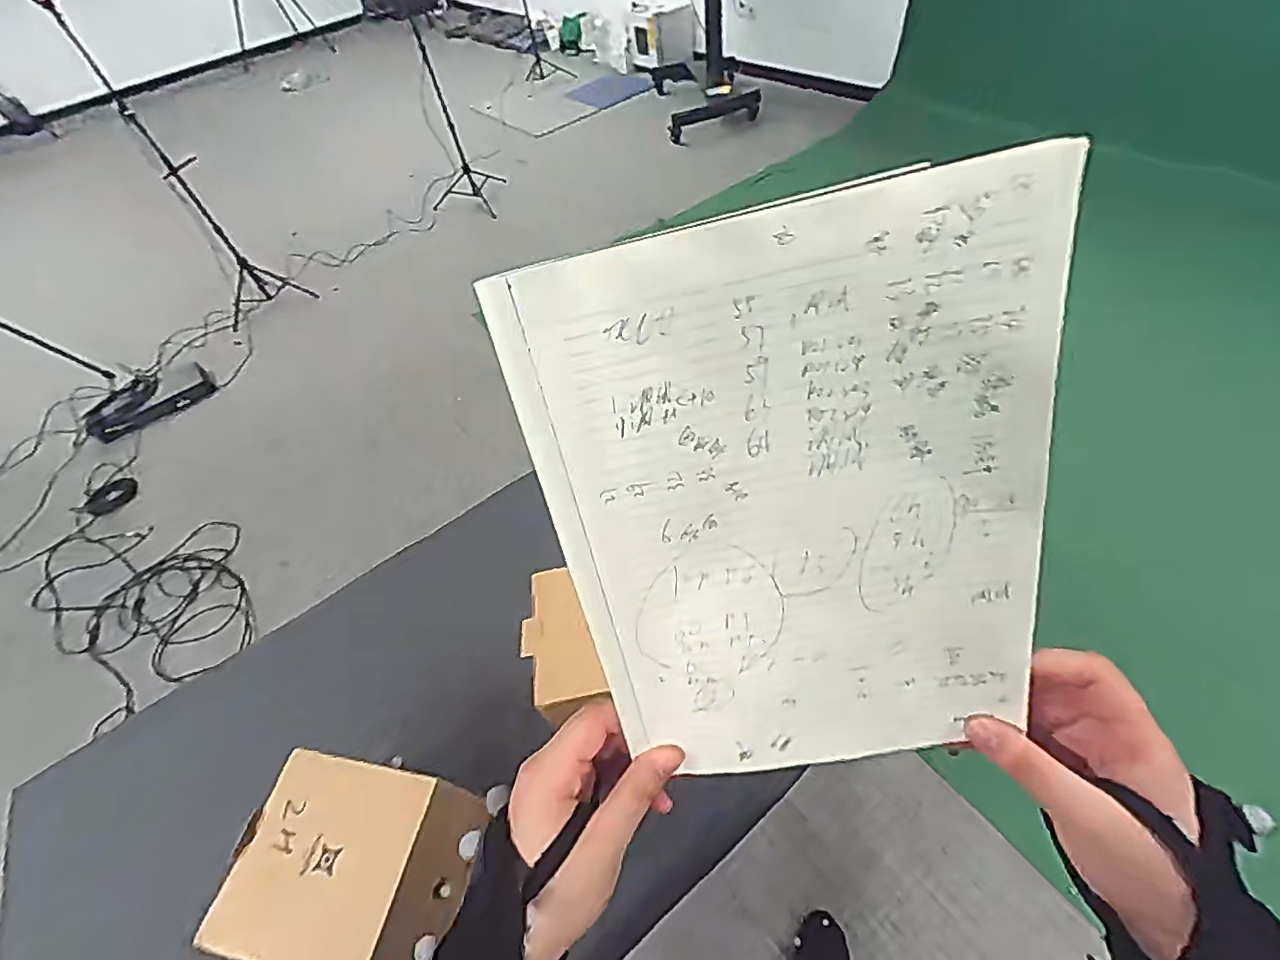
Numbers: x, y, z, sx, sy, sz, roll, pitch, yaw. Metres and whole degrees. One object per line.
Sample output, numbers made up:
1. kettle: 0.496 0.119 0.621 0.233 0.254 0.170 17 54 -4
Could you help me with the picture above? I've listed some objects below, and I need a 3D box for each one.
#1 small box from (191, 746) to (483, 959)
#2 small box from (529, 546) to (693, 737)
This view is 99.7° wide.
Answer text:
1. small box: -0.293 0.403 0.573 0.179 0.176 0.168 5 53 13
2. small box: -0.031 0.208 0.684 0.179 0.176 0.168 -12 51 1
